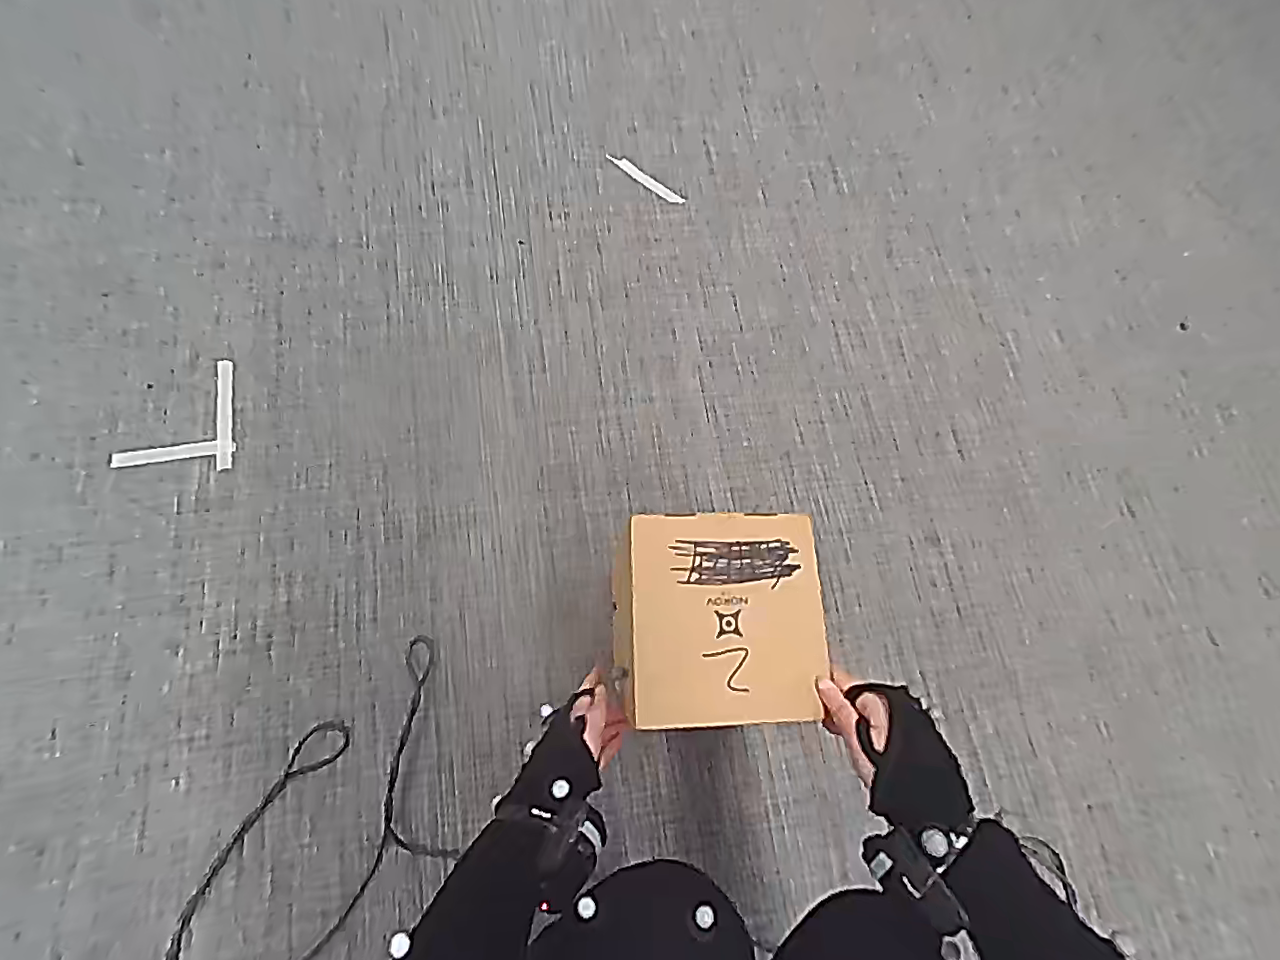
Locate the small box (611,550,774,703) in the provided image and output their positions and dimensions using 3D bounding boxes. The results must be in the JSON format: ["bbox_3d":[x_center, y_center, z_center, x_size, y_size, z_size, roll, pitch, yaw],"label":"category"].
[{"bbox_3d":[0.053,0.187,0.688,0.179,0.176,0.168,-1,73,-6],"label":"small box"}]
